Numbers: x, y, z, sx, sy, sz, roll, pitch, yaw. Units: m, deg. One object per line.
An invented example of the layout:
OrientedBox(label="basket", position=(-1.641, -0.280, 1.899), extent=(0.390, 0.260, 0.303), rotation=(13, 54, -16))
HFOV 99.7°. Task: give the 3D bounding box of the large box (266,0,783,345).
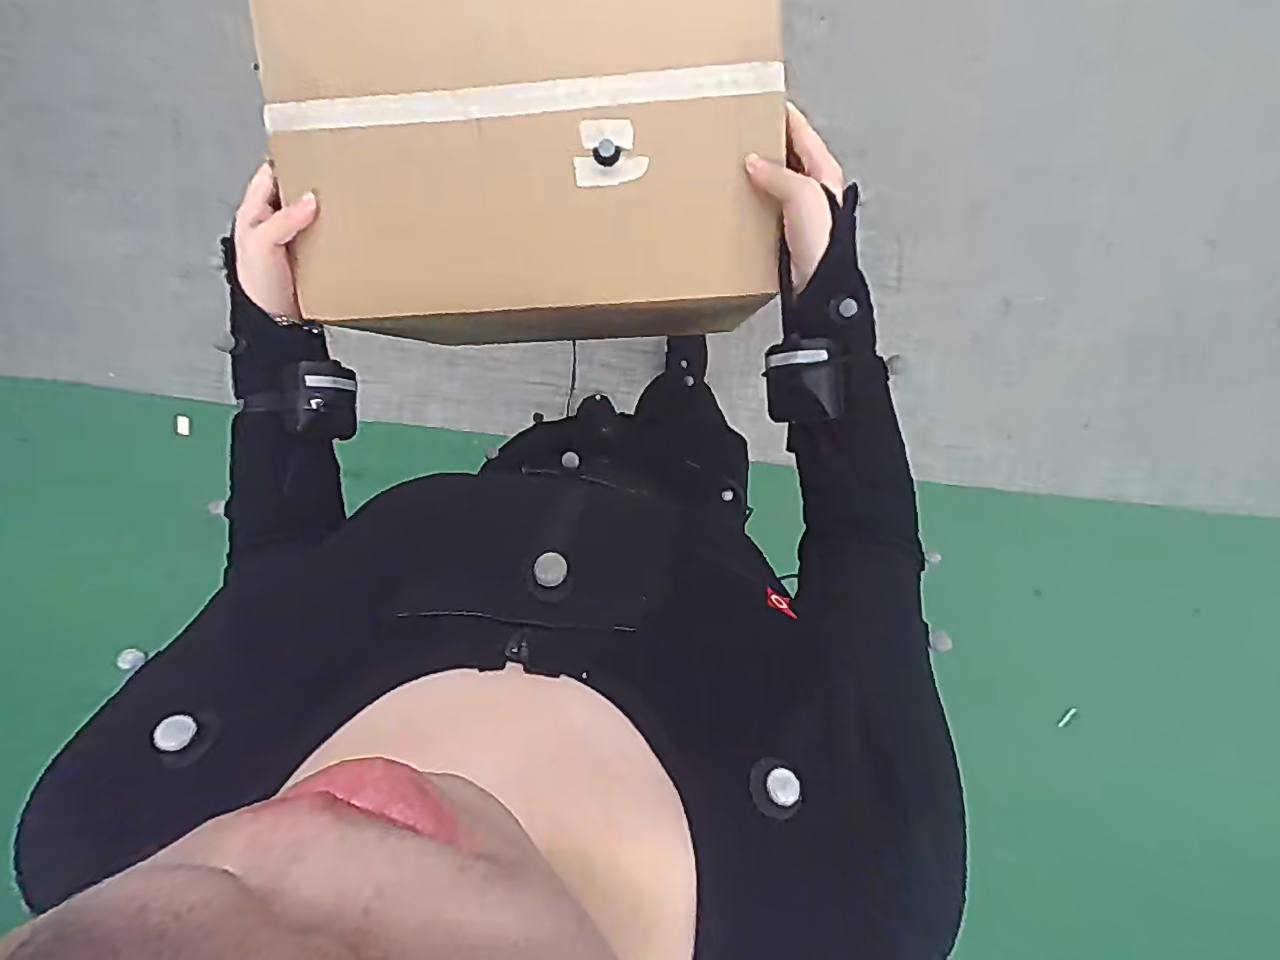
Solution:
OrientedBox(label="large box", position=(-0.089, -0.330, 0.578), extent=(0.408, 0.320, 0.320), rotation=(-4, 100, 1))
